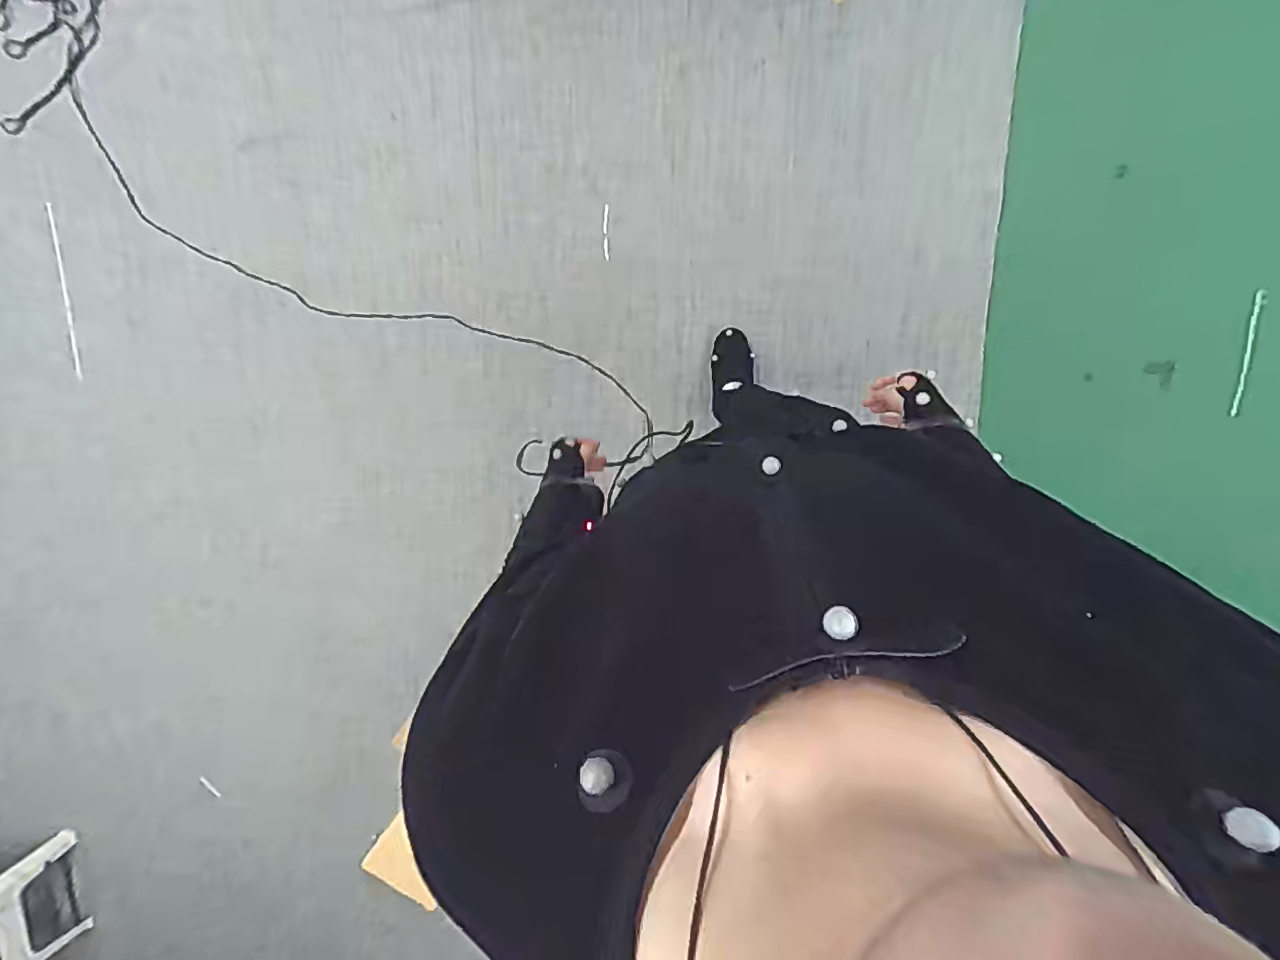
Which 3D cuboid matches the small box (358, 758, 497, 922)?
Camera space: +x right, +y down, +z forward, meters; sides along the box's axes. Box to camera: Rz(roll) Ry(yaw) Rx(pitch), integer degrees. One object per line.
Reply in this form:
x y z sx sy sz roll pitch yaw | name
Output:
-0.406 0.698 1.069 0.168 0.176 0.179 35 101 -2 | small box

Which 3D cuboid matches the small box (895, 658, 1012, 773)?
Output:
0.664 0.497 1.147 0.168 0.176 0.179 -12 98 5 | small box
